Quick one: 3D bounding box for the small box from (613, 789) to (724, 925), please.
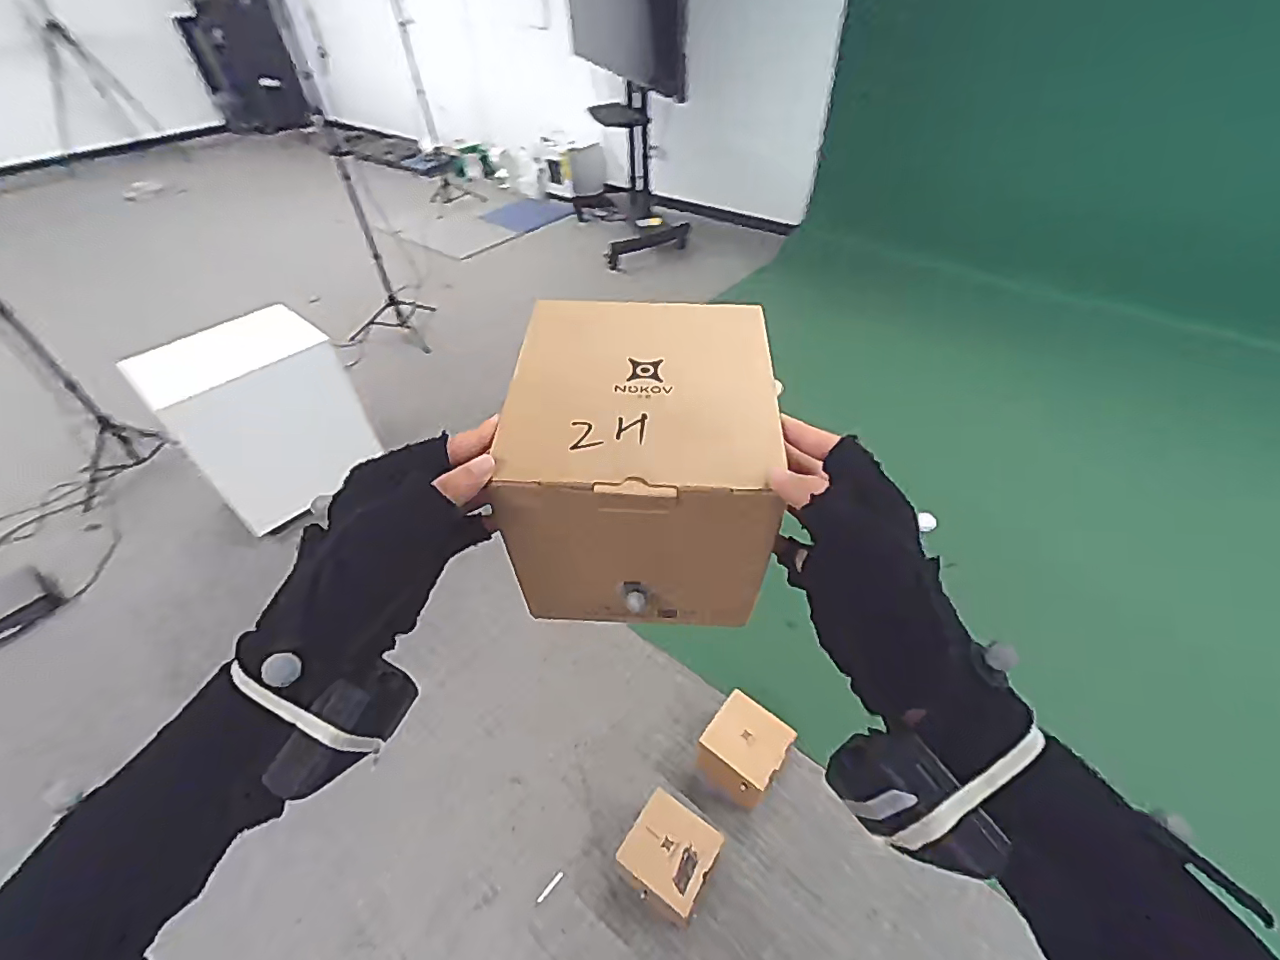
[{"bbox_3d":[0.062,0.819,1.171,0.179,0.176,0.168,25,49,26],"label":"small box"}]

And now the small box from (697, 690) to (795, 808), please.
[{"bbox_3d":[0.253,0.664,1.331,0.179,0.176,0.168,29,52,27],"label":"small box"}]

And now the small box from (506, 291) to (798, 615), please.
[{"bbox_3d":[0.012,-0.019,0.410,0.168,0.176,0.179,3,51,3],"label":"small box"}]
